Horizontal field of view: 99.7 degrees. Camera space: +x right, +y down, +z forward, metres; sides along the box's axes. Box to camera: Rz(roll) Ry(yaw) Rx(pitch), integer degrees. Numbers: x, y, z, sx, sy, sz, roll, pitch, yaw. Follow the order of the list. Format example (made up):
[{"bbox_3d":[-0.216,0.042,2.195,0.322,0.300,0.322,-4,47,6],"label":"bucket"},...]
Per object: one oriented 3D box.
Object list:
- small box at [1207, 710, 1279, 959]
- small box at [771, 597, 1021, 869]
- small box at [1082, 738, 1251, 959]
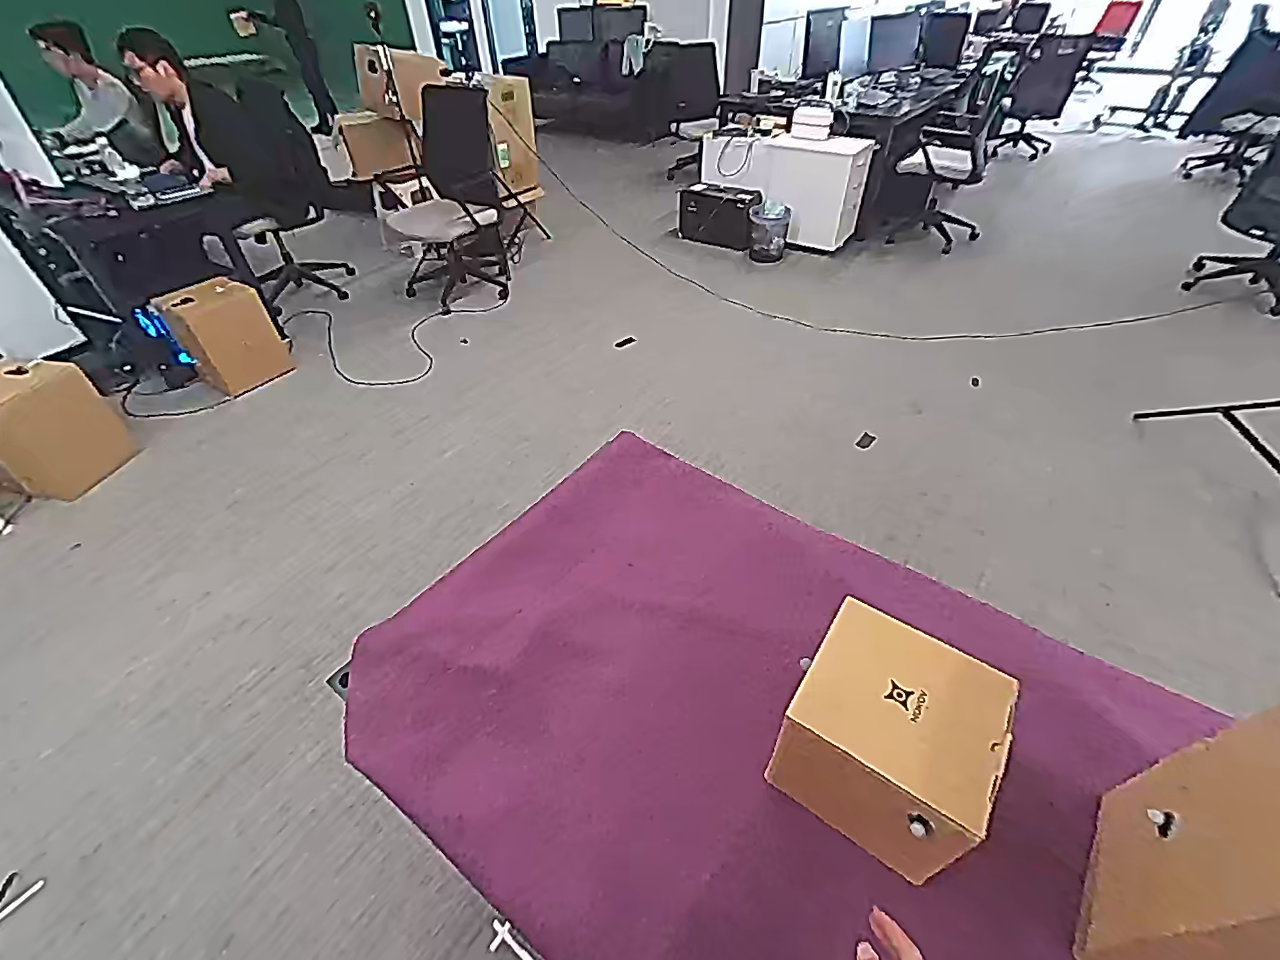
[{"bbox_3d":[0.514,0.247,0.338,0.168,0.176,0.179,28,51,29],"label":"small box"},{"bbox_3d":[0.256,0.265,0.572,0.179,0.176,0.168,26,49,26],"label":"small box"},{"bbox_3d":[0.516,0.366,0.452,0.168,0.176,0.179,29,51,29],"label":"small box"}]
